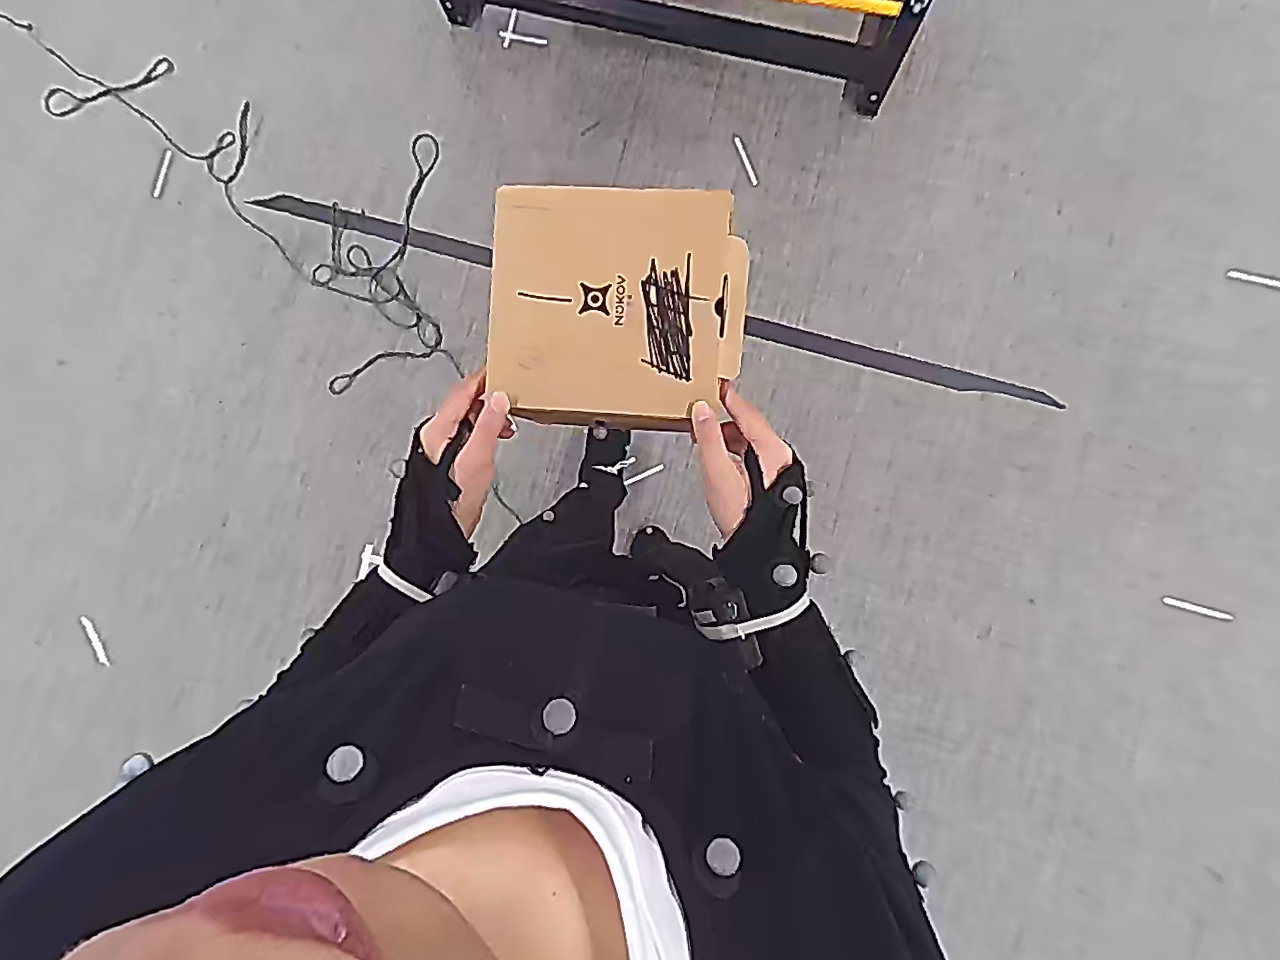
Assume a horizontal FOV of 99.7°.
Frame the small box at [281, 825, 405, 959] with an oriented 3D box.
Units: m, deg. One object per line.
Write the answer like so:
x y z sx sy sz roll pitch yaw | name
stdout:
-0.663 0.938 1.229 0.168 0.176 0.179 13 88 4 | small box

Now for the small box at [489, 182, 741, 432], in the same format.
-0.016 -0.132 0.473 0.179 0.176 0.168 4 92 4 | small box
